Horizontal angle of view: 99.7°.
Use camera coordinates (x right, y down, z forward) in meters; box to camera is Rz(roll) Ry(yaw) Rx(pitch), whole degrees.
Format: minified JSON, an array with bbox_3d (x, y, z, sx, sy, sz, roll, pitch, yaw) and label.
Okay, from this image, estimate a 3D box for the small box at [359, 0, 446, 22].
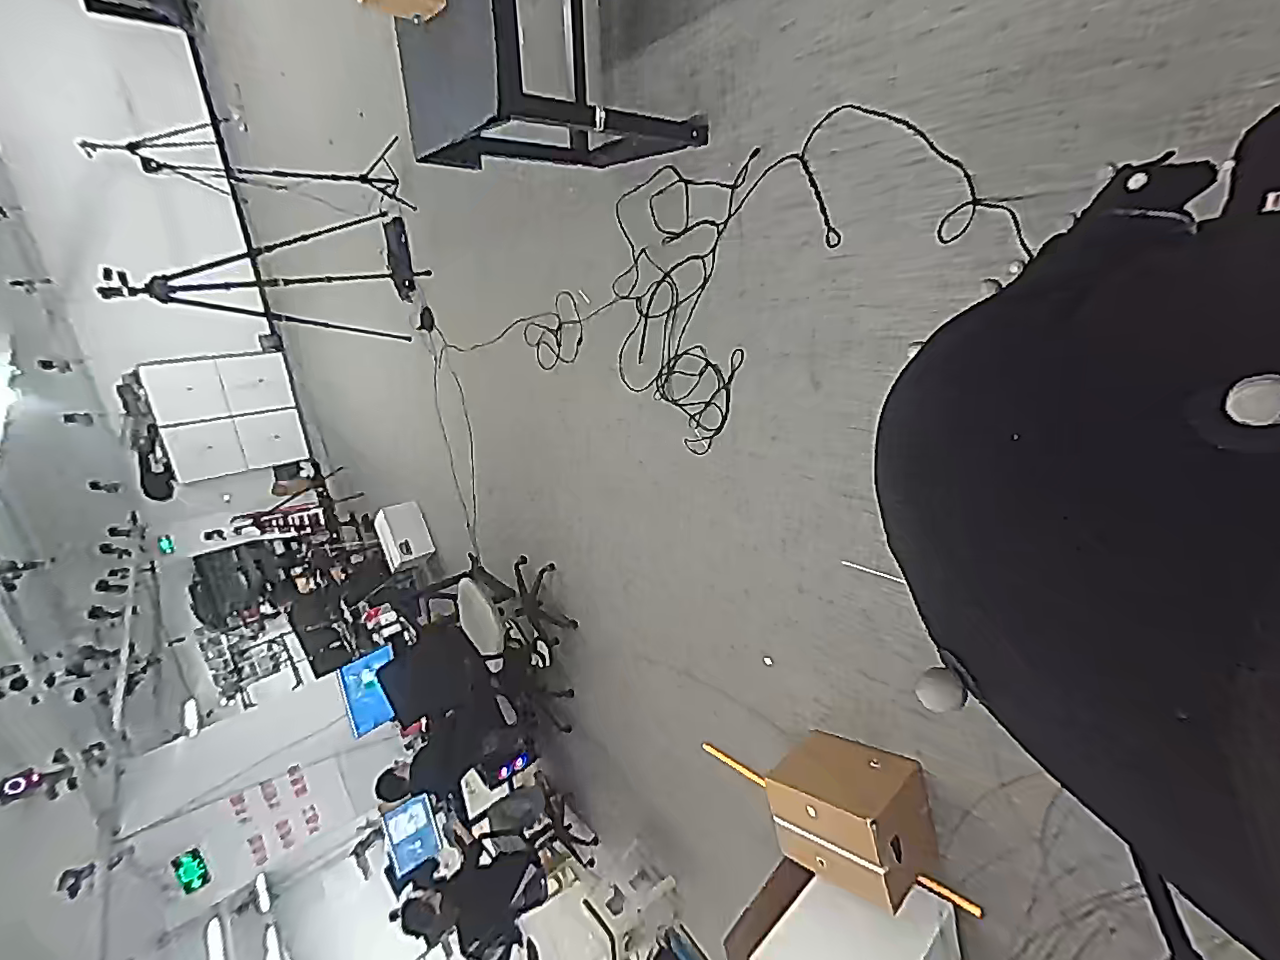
[{"bbox_3d":[-0.592,-1.266,1.331,0.168,0.176,0.179,25,122,43],"label":"small box"}]
